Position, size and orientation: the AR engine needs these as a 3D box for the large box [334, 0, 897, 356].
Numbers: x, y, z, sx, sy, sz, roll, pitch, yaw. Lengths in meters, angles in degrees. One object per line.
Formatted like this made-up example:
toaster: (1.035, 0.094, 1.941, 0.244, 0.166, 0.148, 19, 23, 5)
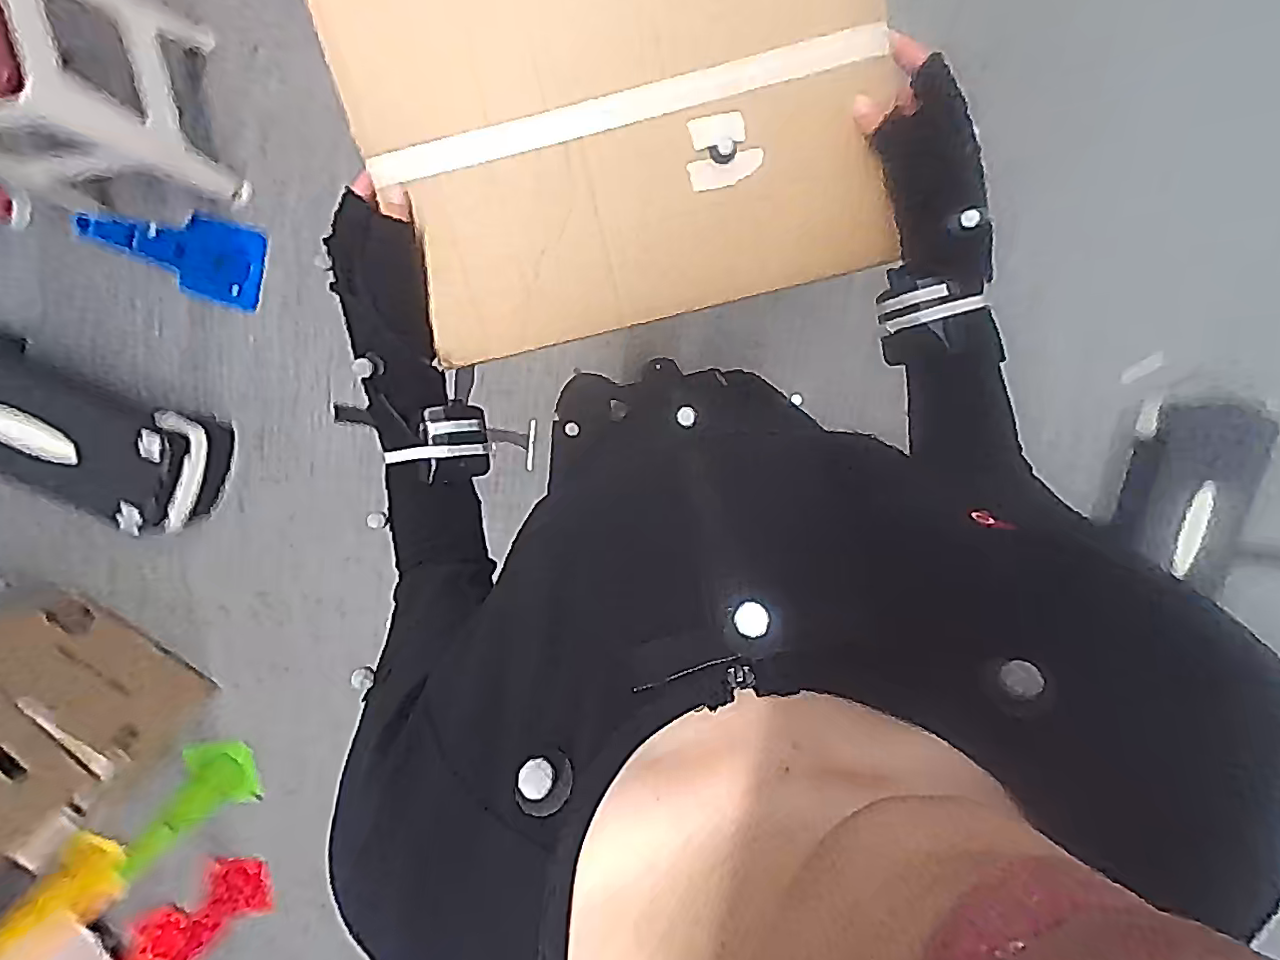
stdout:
large box: (-0.013, -0.342, 0.560, 0.408, 0.320, 0.320, -13, 111, 1)
